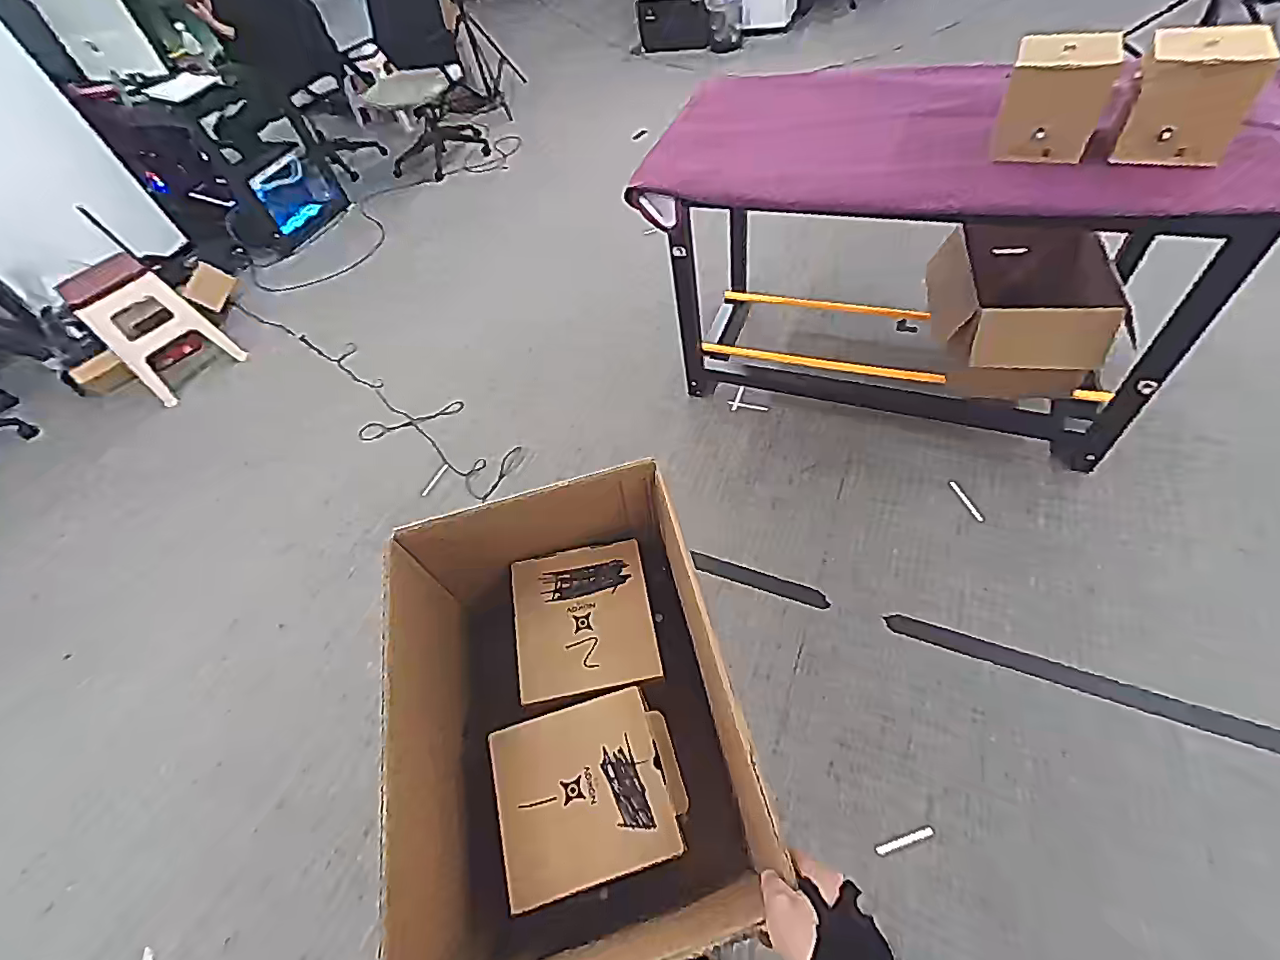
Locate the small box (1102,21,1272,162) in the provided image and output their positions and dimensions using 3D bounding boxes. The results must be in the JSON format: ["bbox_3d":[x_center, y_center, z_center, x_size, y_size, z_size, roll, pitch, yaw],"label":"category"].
[{"bbox_3d":[1.001,-0.723,1.009,0.168,0.176,0.179,17,57,23],"label":"small box"}]

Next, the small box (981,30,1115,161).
[{"bbox_3d":[0.810,-0.769,1.085,0.168,0.176,0.179,17,58,23],"label":"small box"}]
